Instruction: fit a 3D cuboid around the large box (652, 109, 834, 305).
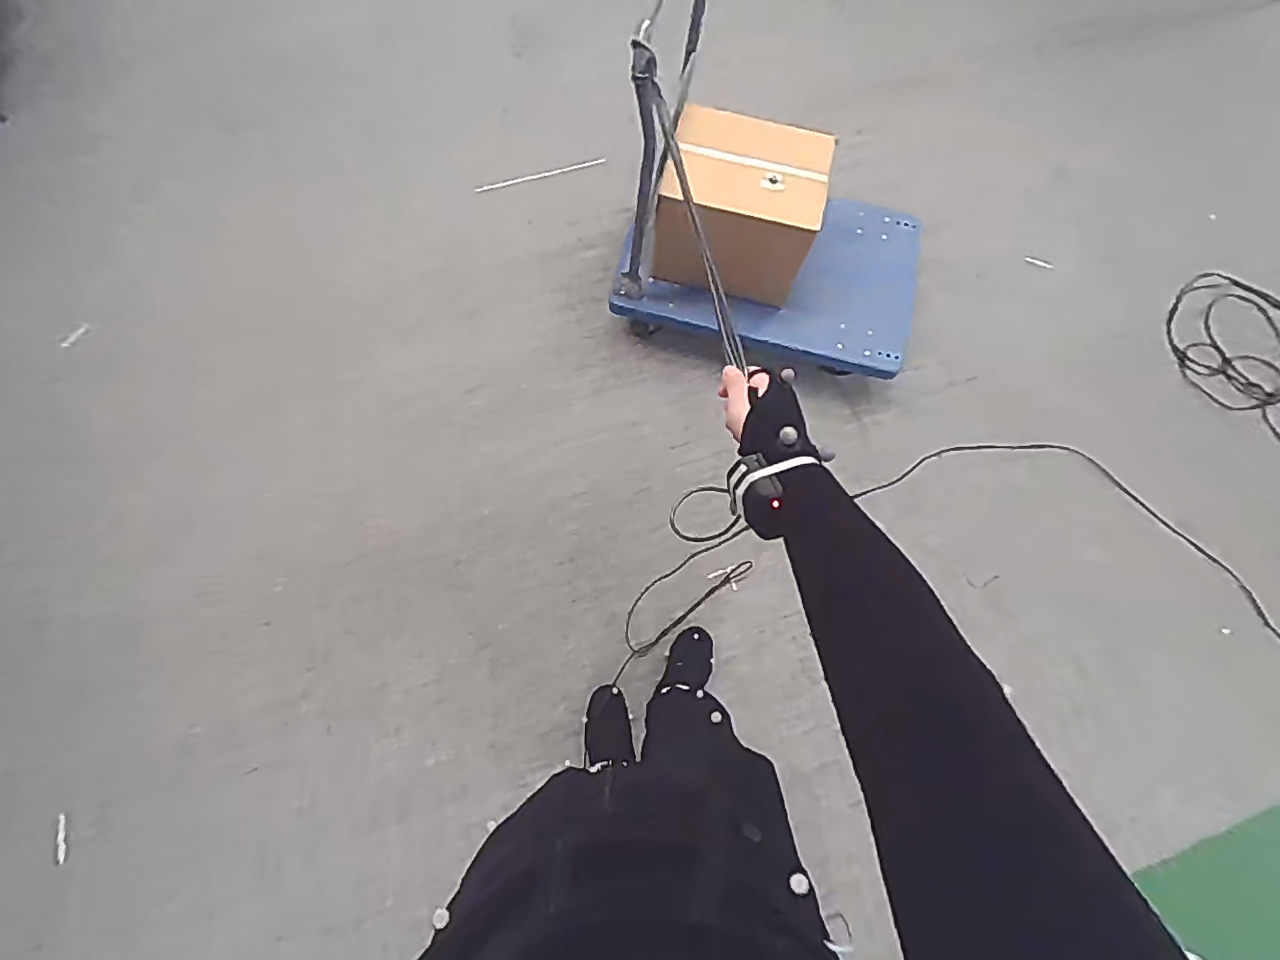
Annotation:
[{"bbox_3d":[0.265,-0.736,1.492,0.408,0.320,0.320,14,73,1],"label":"large box"}]
